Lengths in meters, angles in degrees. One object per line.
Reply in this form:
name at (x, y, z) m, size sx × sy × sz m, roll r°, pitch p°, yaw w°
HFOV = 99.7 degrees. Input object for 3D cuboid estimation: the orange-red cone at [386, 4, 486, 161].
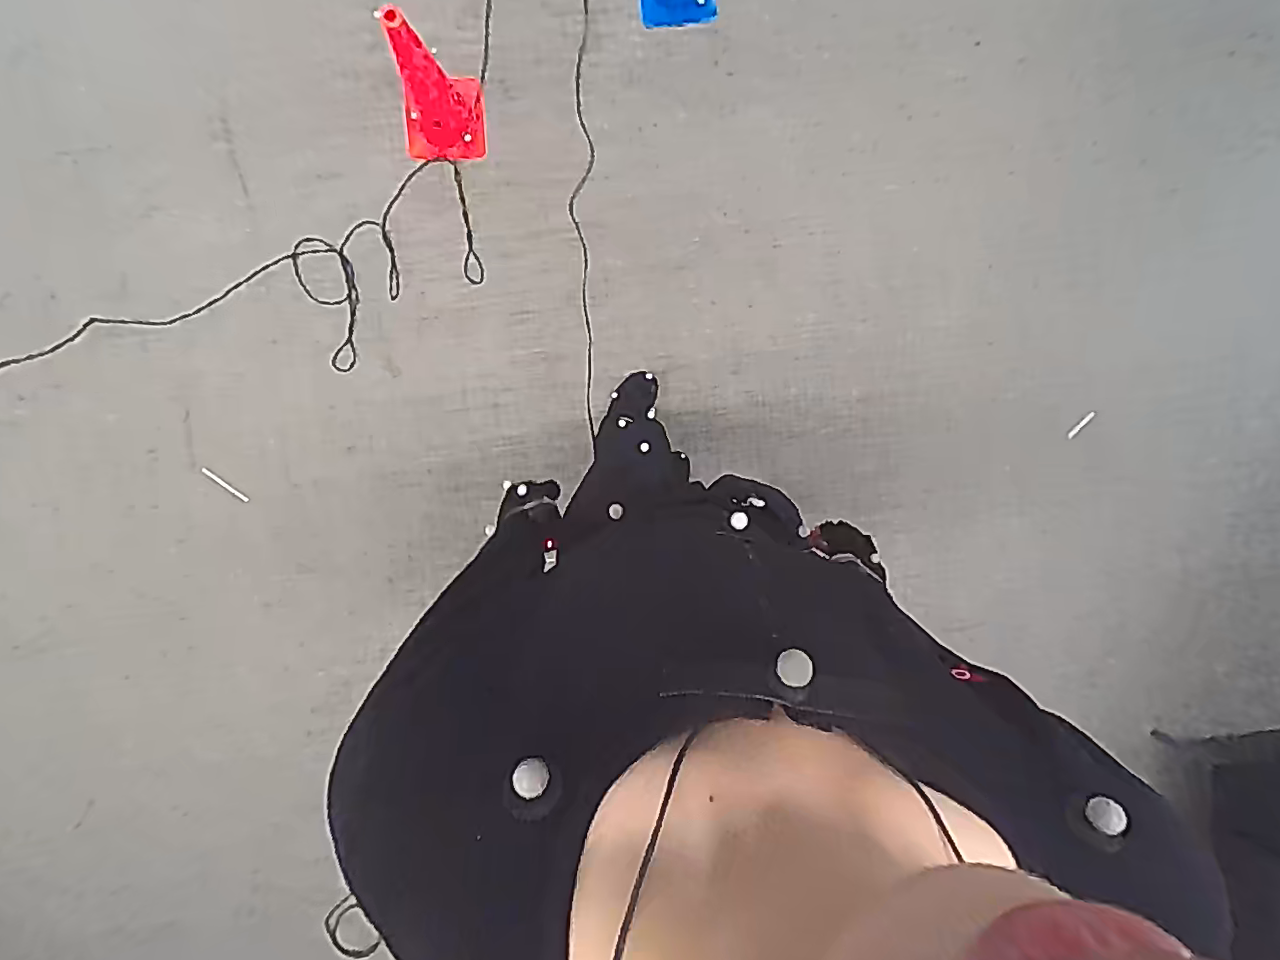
orange-red cone at (-0.485, -0.916, 1.218) m, size 0.198 × 0.360 × 0.199 m, roll -1°, pitch 94°, yaw -4°
